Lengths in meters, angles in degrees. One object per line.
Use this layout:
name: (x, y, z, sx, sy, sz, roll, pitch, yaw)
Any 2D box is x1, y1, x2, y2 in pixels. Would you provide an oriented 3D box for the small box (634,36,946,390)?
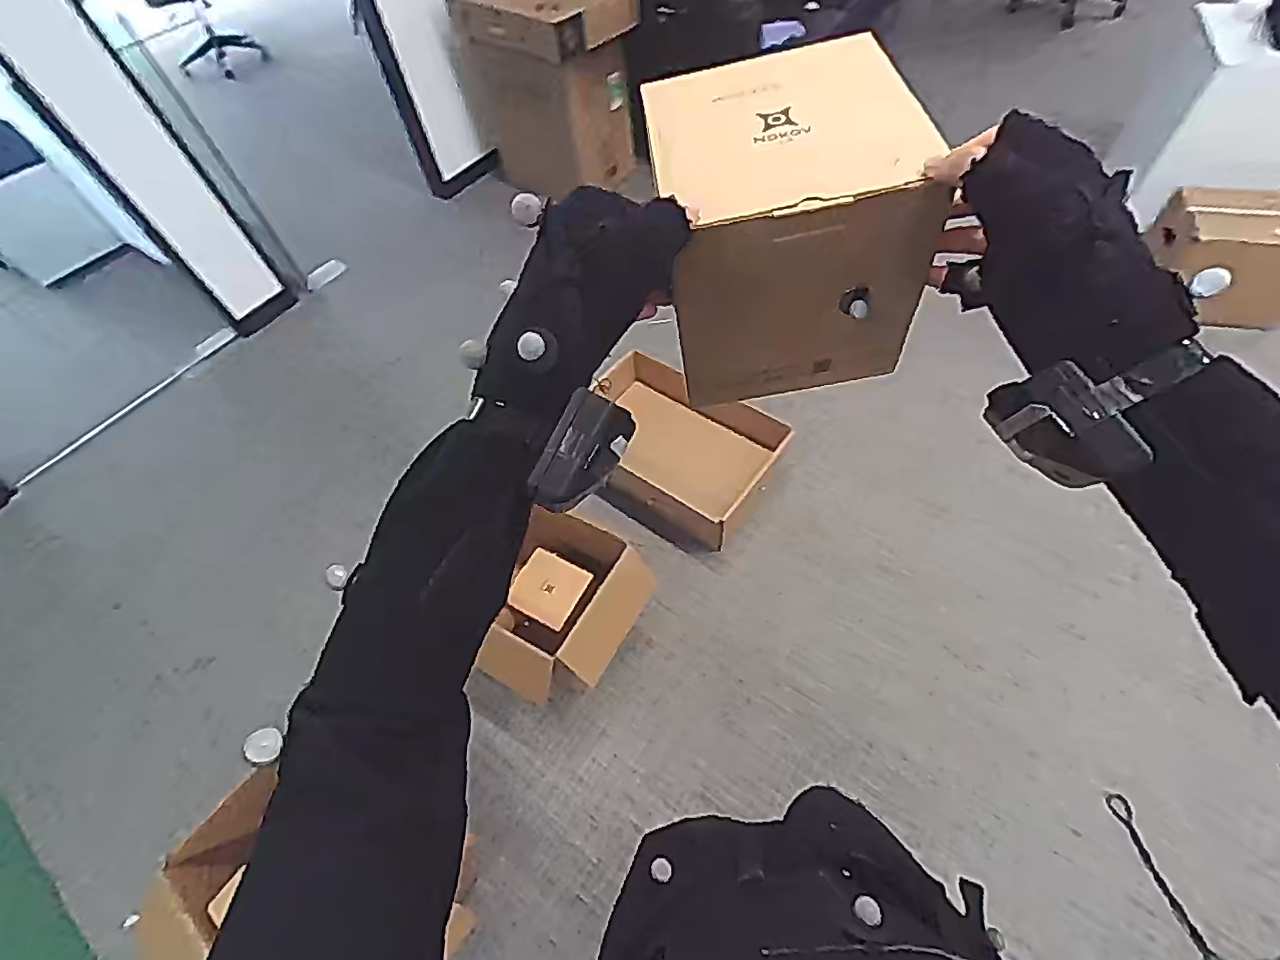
small box: (0.096, -0.186, 0.415, 0.168, 0.176, 0.179, -10, 59, 5)
